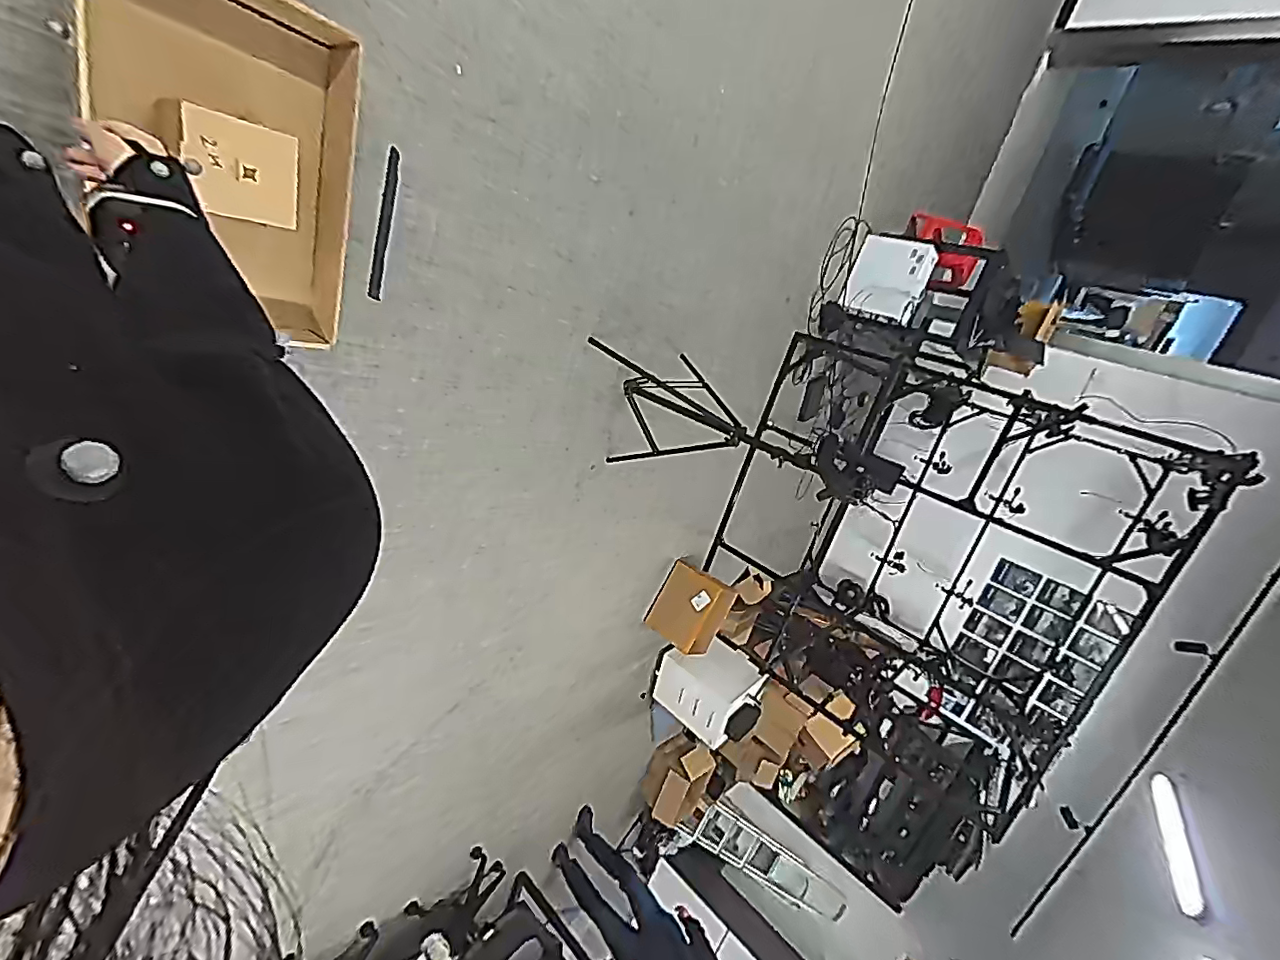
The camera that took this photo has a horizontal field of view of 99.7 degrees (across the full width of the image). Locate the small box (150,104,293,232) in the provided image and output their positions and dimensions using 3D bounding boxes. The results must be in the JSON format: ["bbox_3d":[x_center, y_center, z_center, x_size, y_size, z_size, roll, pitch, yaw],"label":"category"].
[{"bbox_3d":[-0.787,-0.587,1.020,0.179,0.176,0.168,-10,121,-50],"label":"small box"}]
